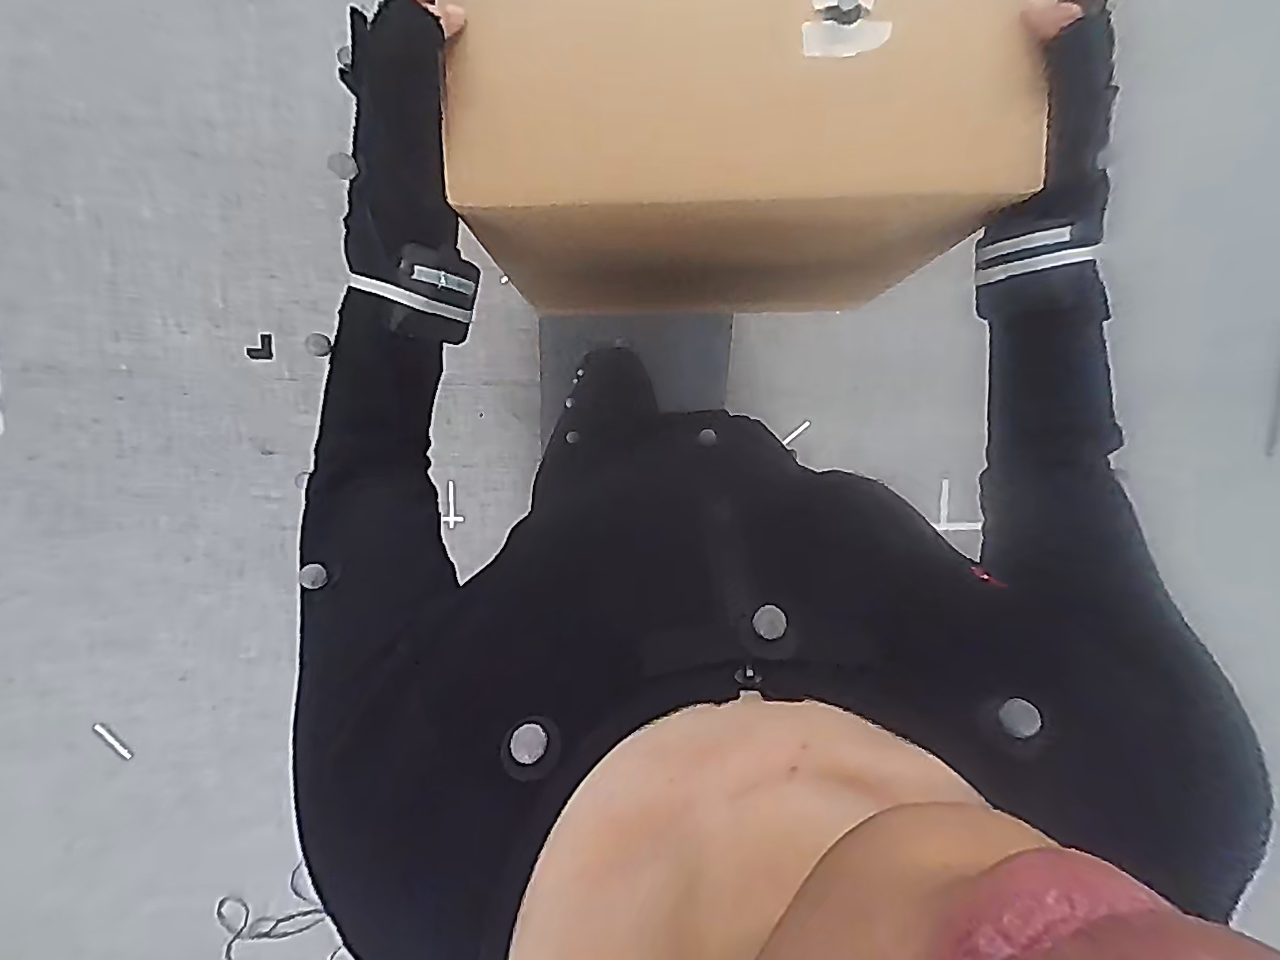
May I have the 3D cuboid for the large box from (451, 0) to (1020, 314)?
[{"bbox_3d":[0.064,-0.362,0.525,0.408,0.320,0.320,-1,93,0],"label":"large box"}]
